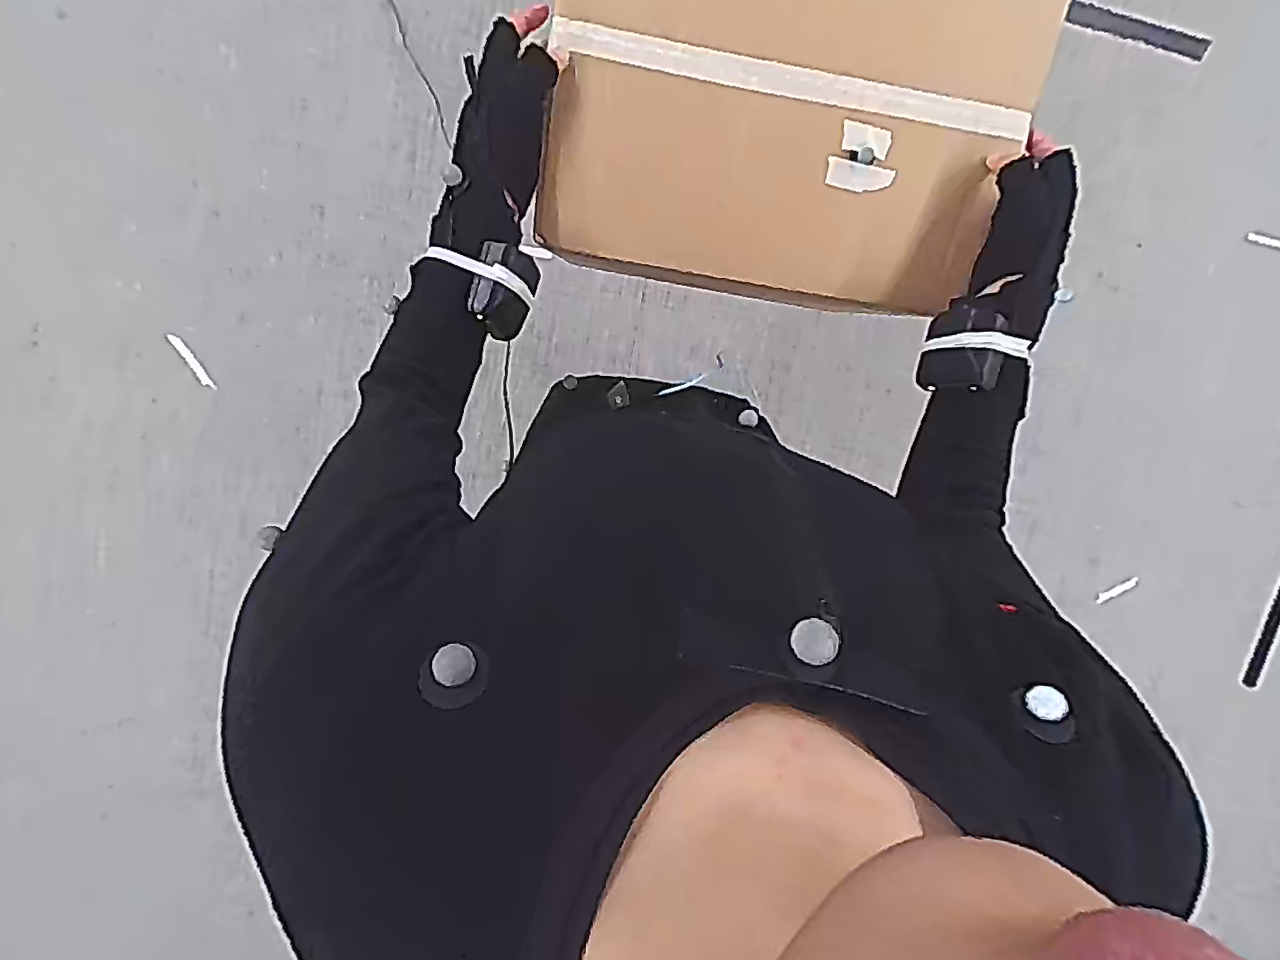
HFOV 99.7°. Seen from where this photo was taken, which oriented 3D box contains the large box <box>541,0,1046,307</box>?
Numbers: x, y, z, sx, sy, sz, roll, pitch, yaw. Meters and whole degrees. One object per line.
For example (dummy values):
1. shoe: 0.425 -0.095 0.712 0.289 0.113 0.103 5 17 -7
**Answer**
1. large box: 0.117 -0.380 0.599 0.408 0.320 0.320 8 109 -5
